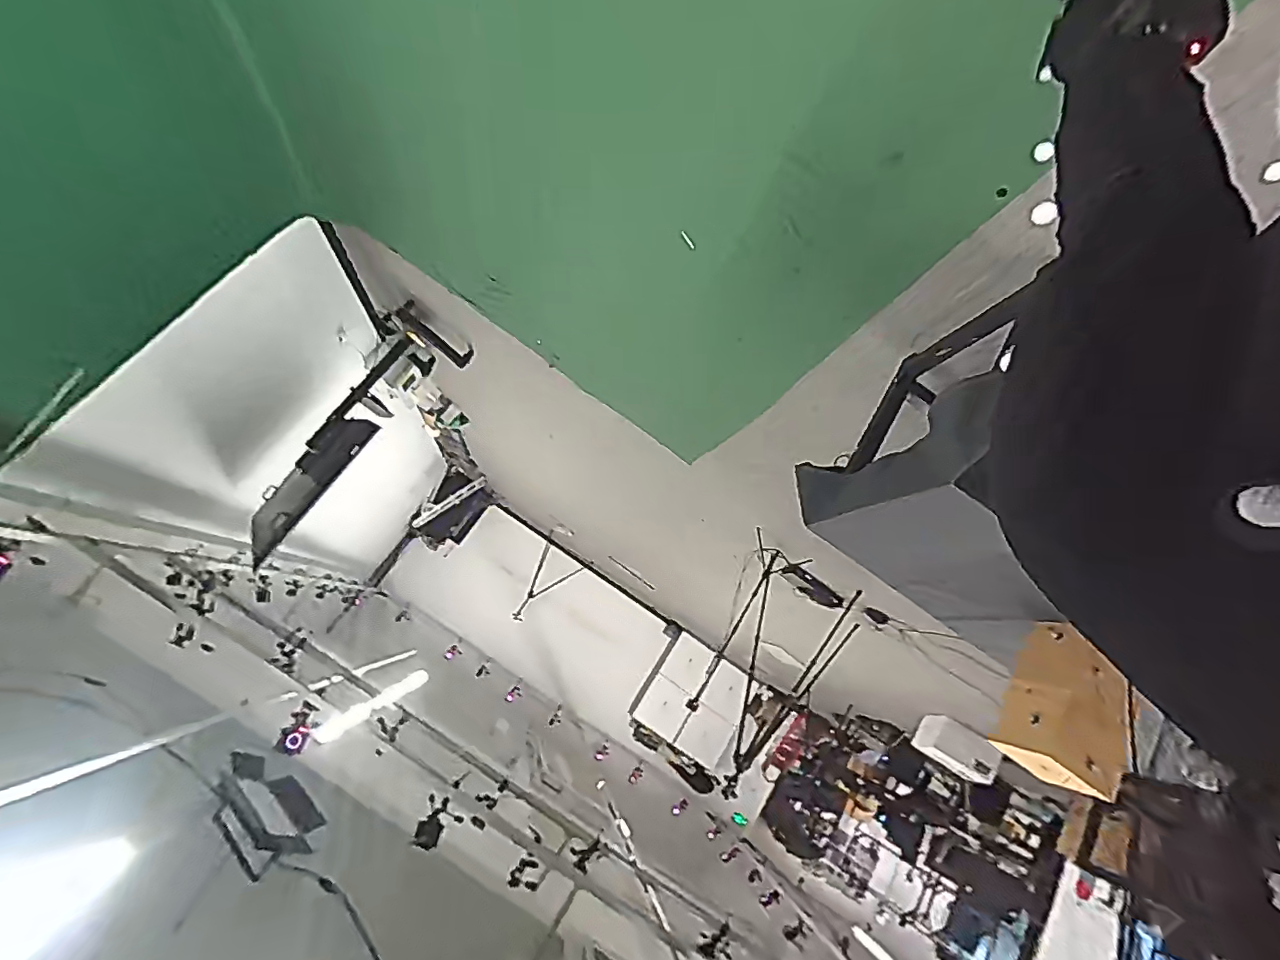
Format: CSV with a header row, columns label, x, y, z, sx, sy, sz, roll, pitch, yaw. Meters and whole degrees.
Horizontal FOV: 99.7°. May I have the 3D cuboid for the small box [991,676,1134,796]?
label,x,y,z,sx,sy,sz,roll,pitch,yaw
small box,0.960,0.570,1.233,0.179,0.176,0.168,35,162,-1
